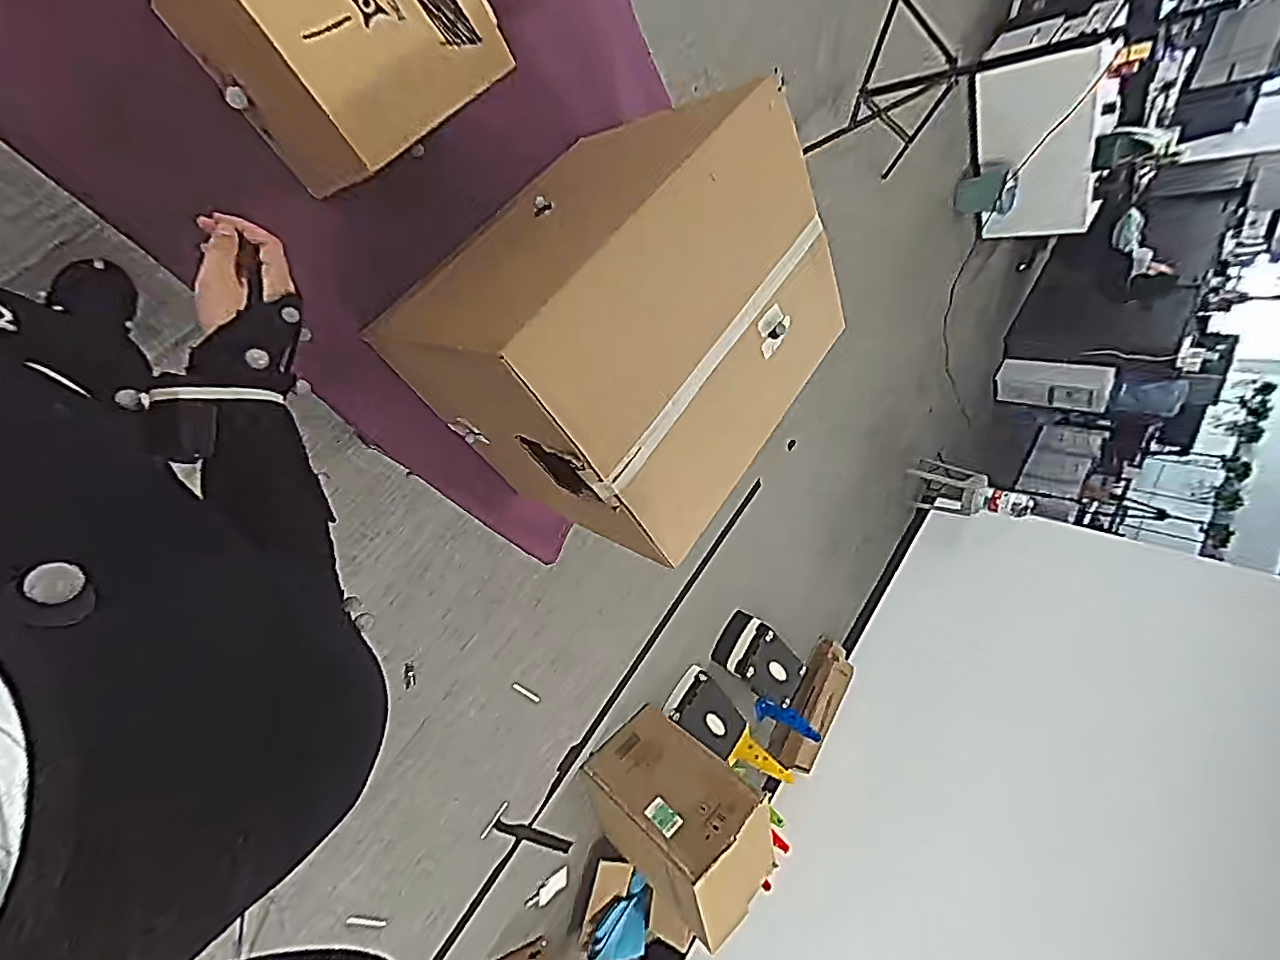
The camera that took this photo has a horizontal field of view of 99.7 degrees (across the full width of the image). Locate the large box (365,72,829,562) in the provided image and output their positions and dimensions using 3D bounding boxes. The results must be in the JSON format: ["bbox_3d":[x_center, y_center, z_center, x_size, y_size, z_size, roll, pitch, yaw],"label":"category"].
[{"bbox_3d":[-0.032,-0.182,0.655,0.408,0.320,0.320,-53,135,-19],"label":"large box"}]
